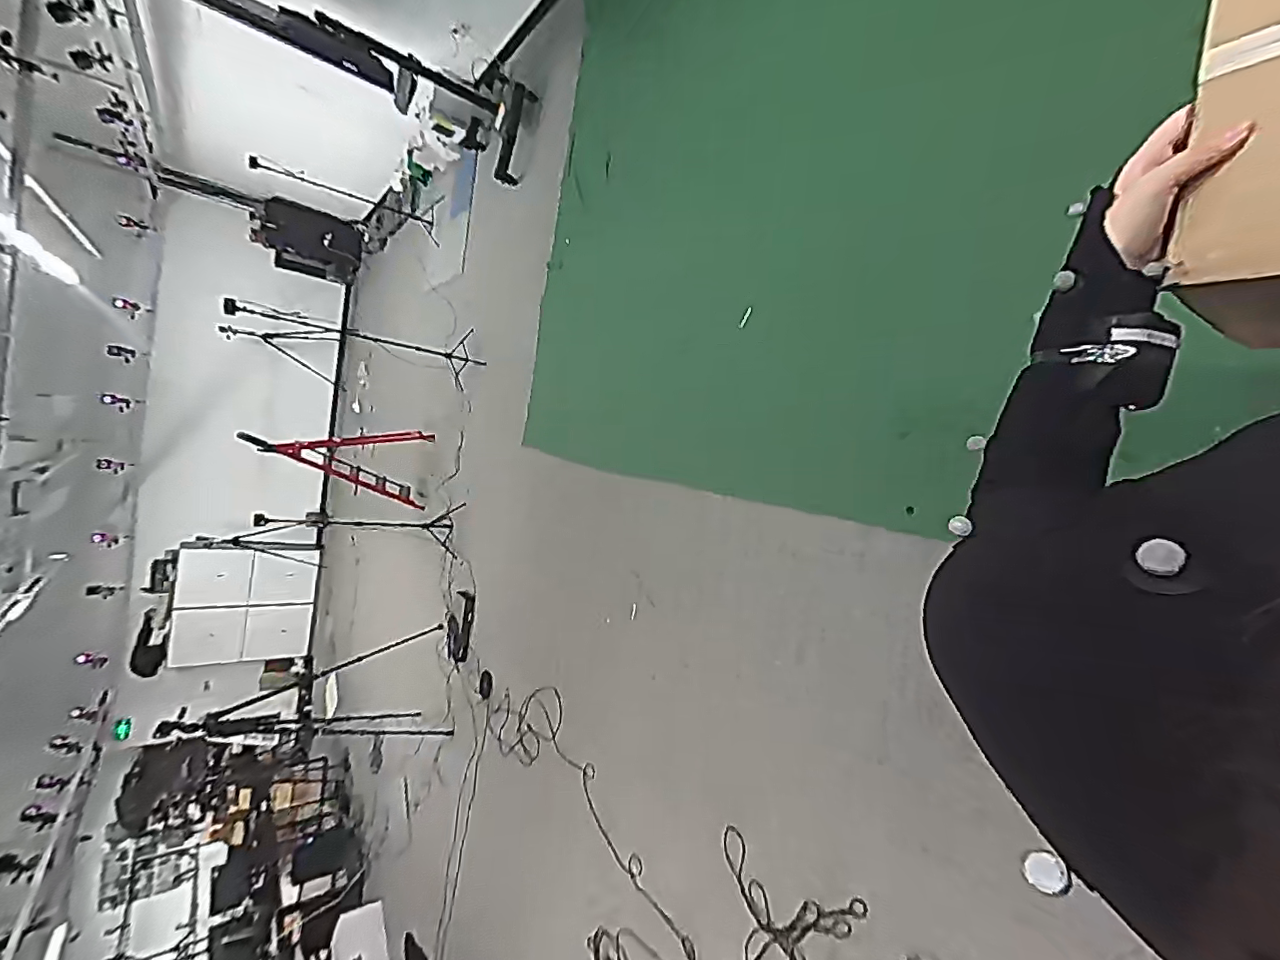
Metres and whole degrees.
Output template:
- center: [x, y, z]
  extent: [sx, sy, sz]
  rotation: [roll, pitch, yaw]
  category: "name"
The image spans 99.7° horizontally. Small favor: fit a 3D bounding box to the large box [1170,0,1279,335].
- center: [0.661, -0.279, 0.324]
  extent: [0.408, 0.320, 0.320]
  rotation: [15, 101, 57]
  category: "large box"
